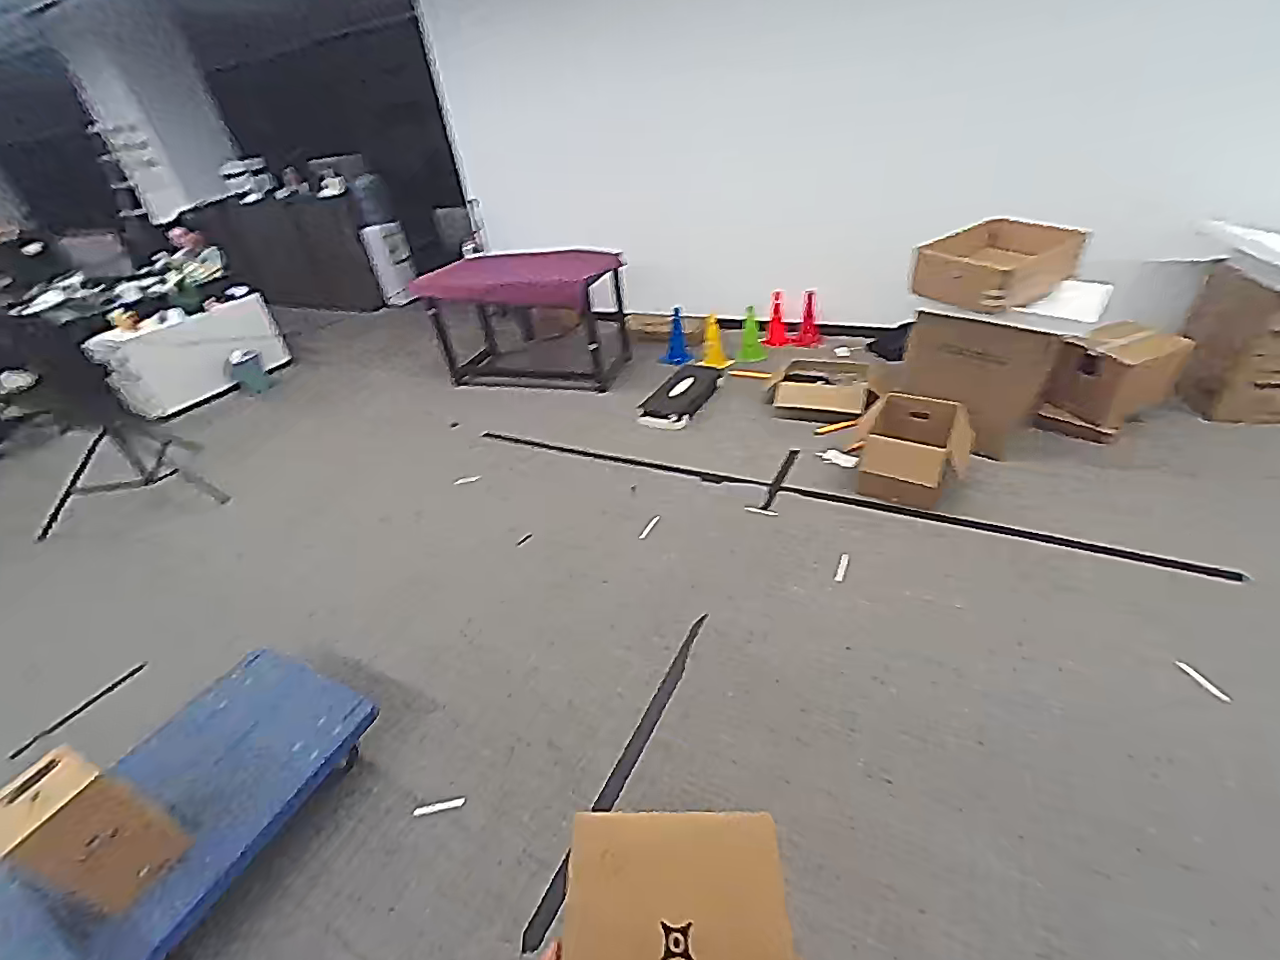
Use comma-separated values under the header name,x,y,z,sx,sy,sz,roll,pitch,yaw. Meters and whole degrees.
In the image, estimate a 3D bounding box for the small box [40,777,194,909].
name,x,y,z,sx,sy,sz,roll,pitch,yaw
small box,-1.189,0.832,1.239,0.179,0.176,0.168,14,41,27
